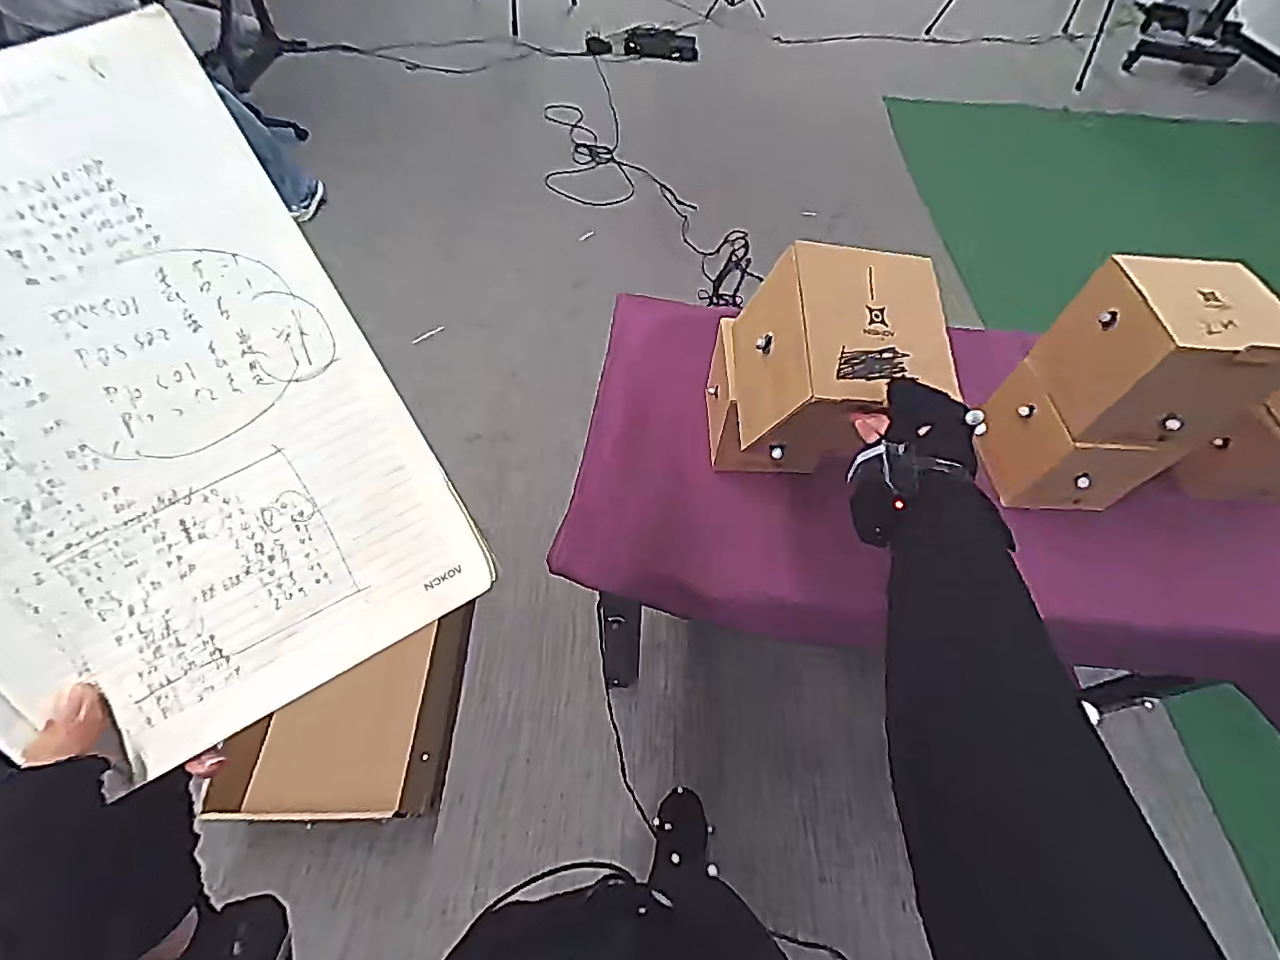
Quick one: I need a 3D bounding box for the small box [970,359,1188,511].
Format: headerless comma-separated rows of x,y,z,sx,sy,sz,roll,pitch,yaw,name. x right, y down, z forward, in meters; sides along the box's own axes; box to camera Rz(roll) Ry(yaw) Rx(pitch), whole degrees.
0.658,-0.064,0.839,0.168,0.176,0.179,2,56,-1,small box

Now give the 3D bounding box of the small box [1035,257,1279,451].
0.668,-0.161,0.706,0.168,0.176,0.179,4,56,1,small box

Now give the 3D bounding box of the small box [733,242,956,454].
0.217,-0.136,0.619,0.168,0.176,0.179,2,73,-13,small box
